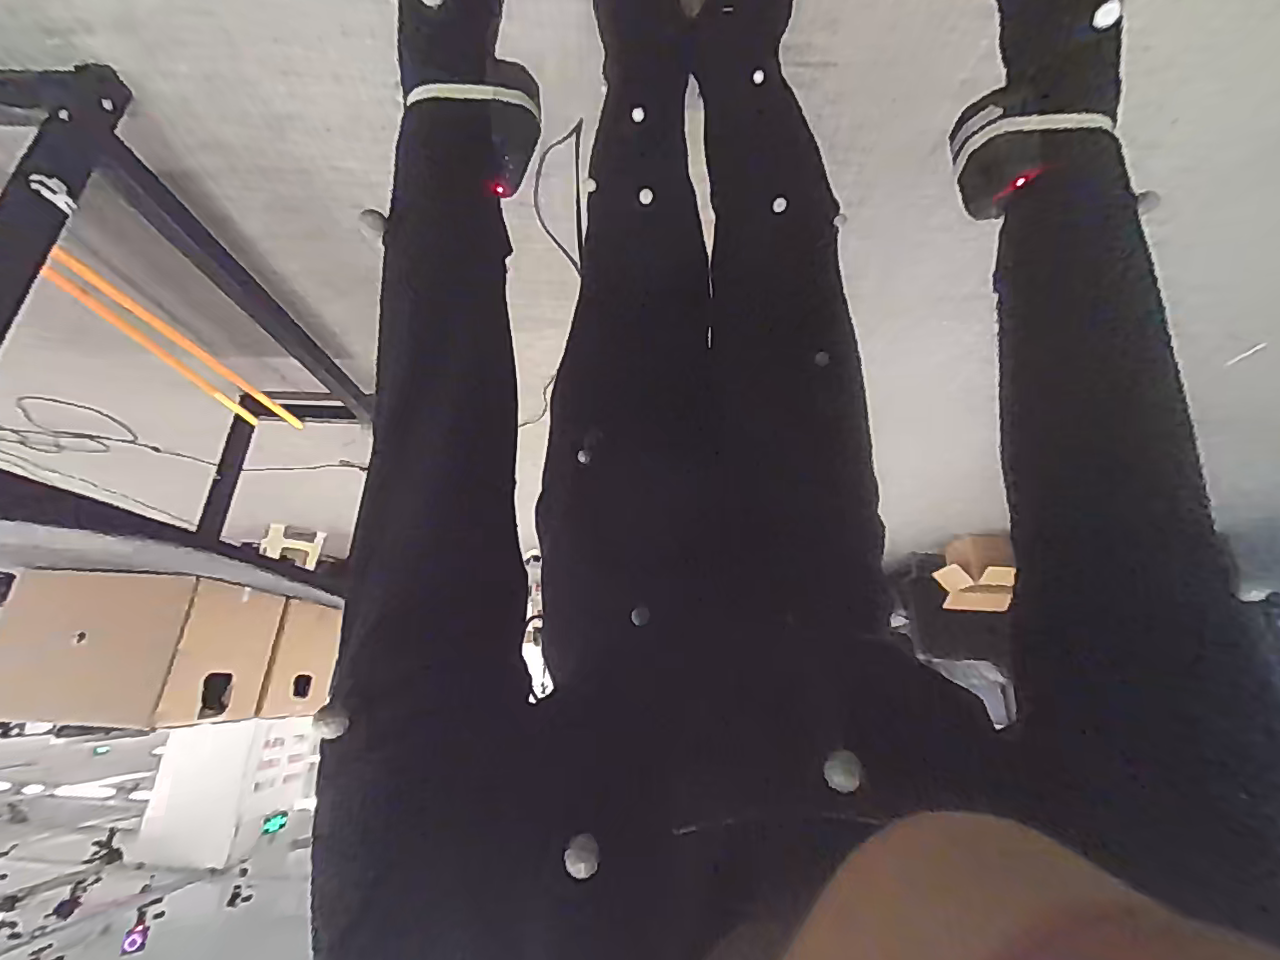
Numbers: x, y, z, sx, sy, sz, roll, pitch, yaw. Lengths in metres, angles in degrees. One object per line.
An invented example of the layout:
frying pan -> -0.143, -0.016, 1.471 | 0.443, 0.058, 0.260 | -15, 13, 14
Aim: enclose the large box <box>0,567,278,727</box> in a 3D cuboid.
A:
large box -> -1.158, 0.386, 1.246 | 0.408, 0.320, 0.320 | 1, 160, 2
